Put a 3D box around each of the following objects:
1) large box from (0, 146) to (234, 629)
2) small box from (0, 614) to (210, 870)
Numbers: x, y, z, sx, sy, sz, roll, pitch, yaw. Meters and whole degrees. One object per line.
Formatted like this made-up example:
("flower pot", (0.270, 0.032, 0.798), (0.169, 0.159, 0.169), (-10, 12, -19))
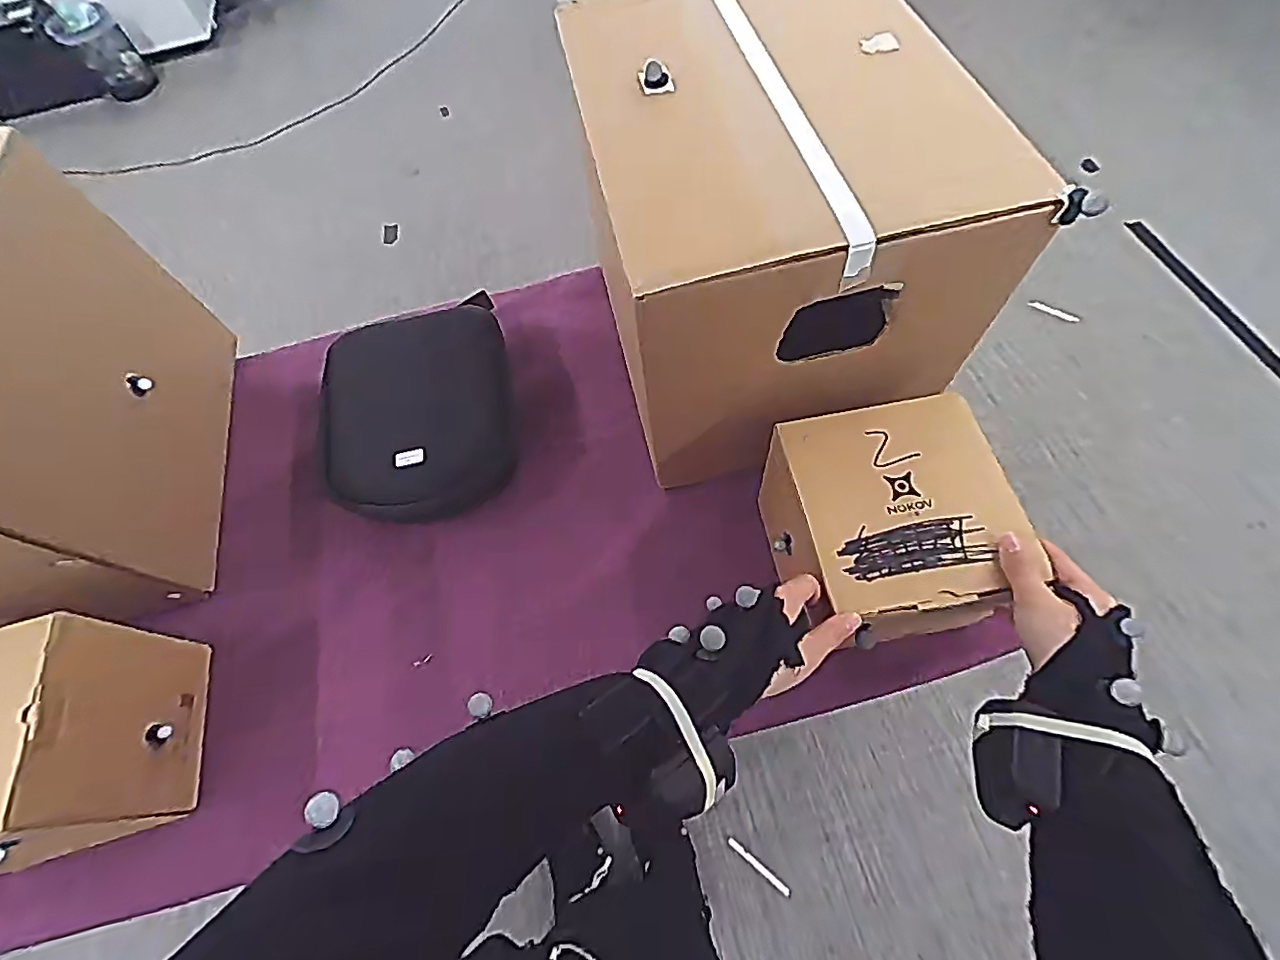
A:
("large box", (-0.696, -0.059, 0.575), (0.320, 0.320, 0.408), (-16, 65, -4))
("small box", (-0.547, 0.244, 0.490), (0.179, 0.176, 0.168), (-17, 62, -4))
